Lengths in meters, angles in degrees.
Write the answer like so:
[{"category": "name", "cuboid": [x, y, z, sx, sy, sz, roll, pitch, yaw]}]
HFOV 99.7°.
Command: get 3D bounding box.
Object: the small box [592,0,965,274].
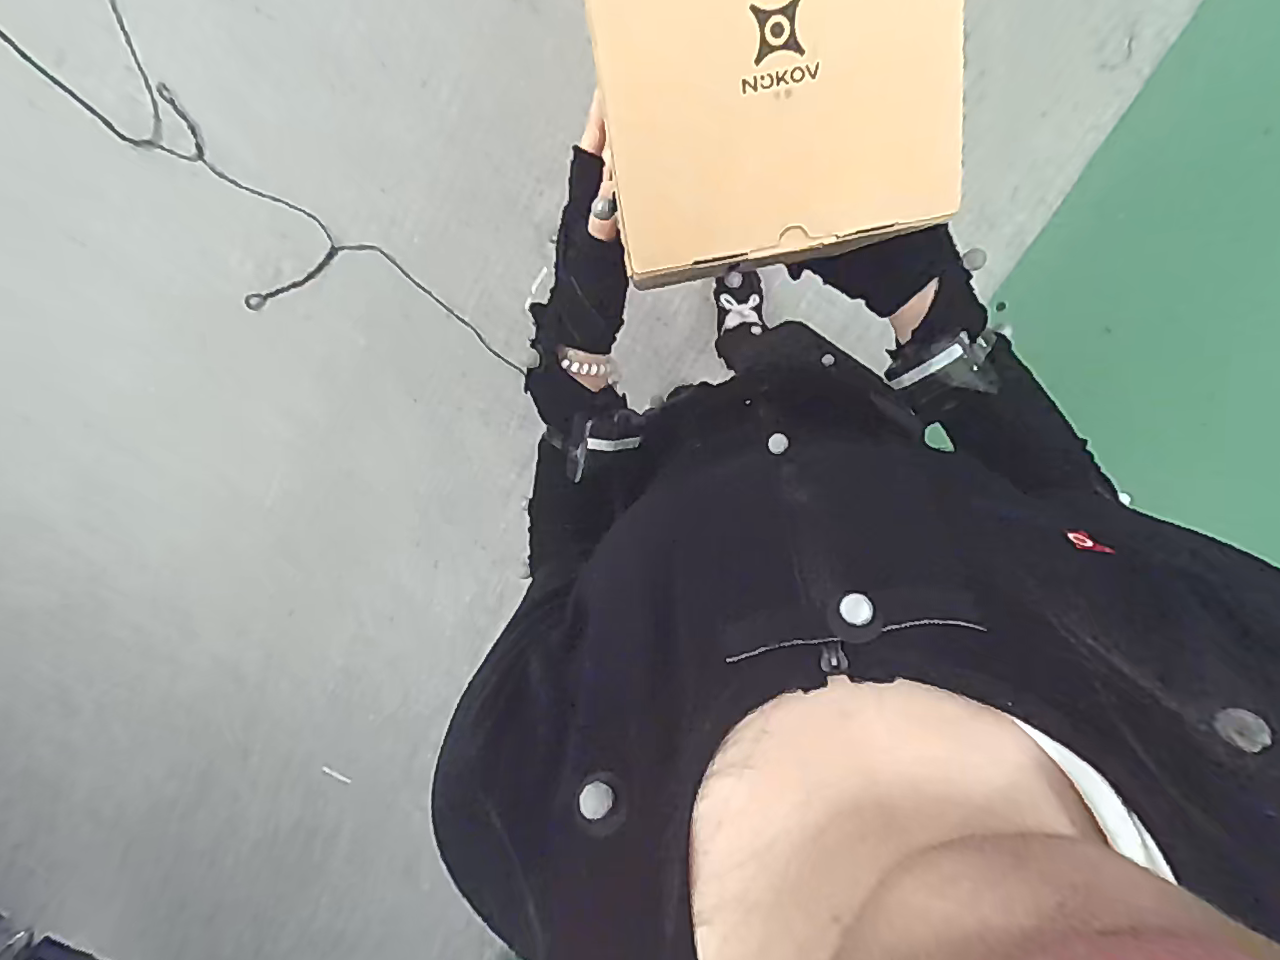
[{"category": "small box", "cuboid": [0.063, -0.230, 0.321, 0.168, 0.176, 0.179, -9, 108, 4]}]
